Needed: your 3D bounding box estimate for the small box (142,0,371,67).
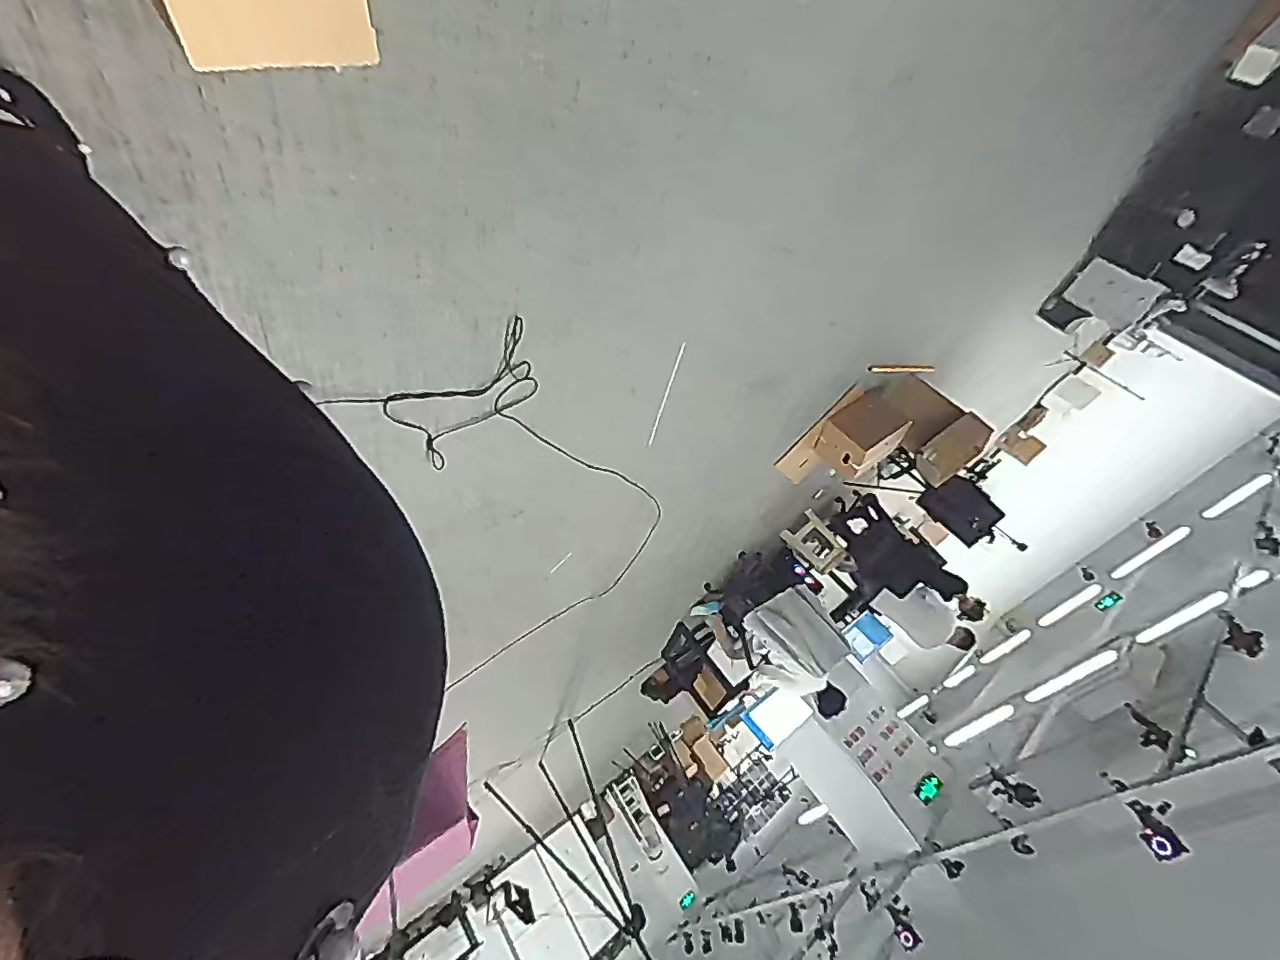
[{"bbox_3d":[-0.390,-0.517,0.510,0.179,0.176,0.168,-27,151,-27],"label":"small box"}]
